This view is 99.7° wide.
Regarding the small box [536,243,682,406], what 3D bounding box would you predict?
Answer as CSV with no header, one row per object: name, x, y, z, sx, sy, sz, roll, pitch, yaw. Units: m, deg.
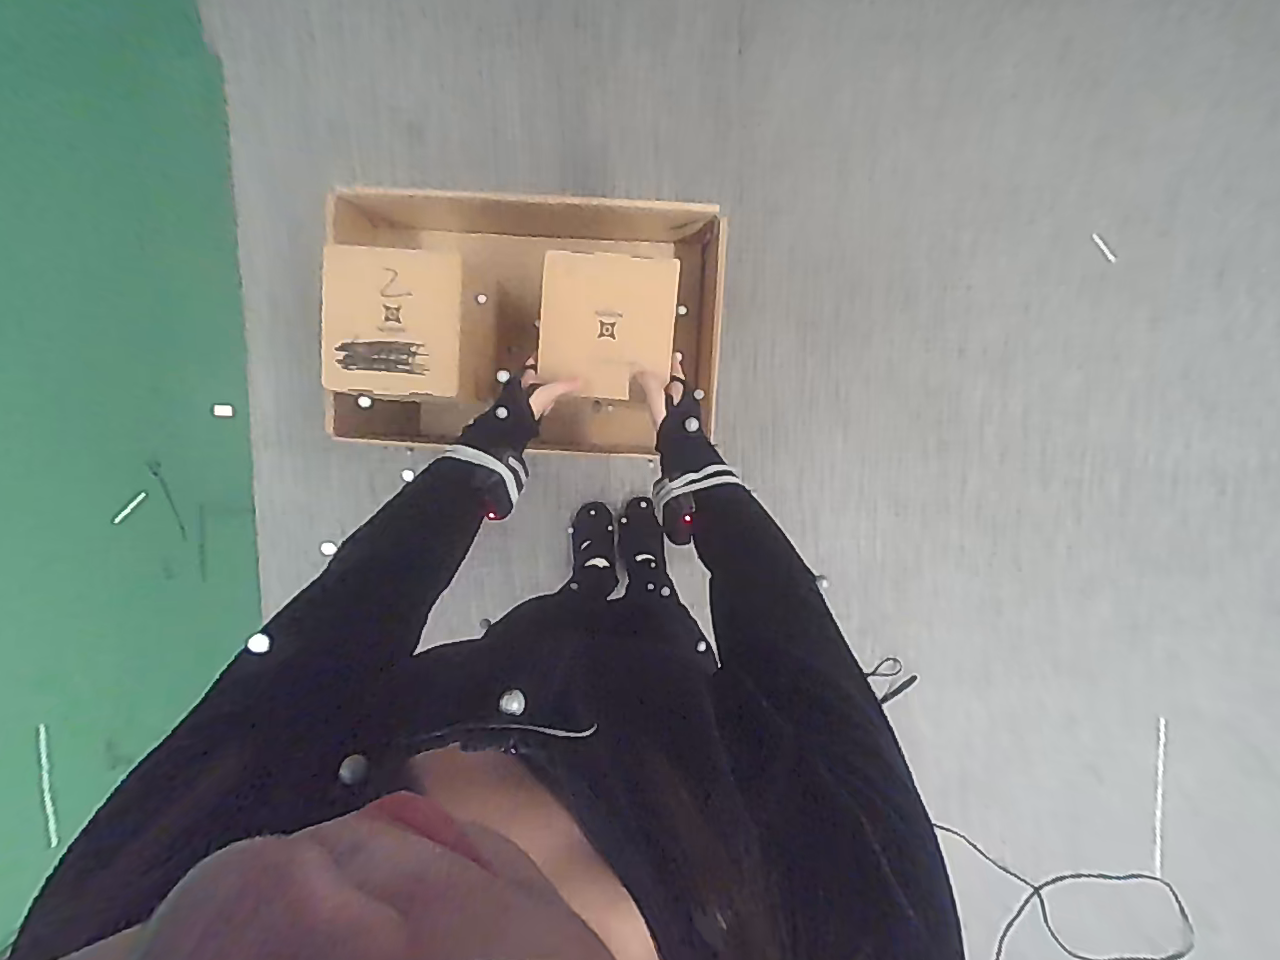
small box,-0.038,-0.199,0.738,0.168,0.176,0.179,6,96,1
